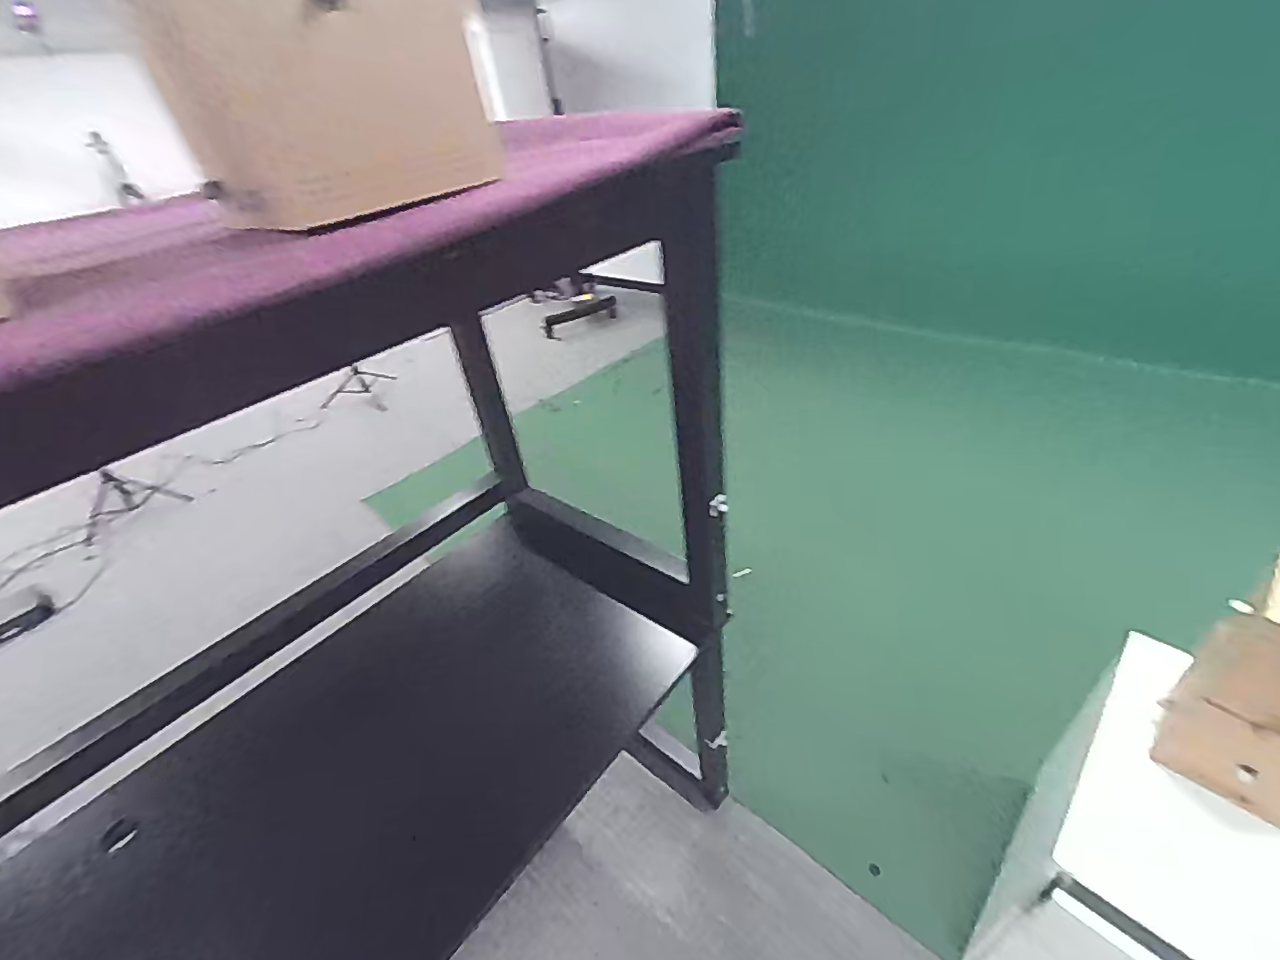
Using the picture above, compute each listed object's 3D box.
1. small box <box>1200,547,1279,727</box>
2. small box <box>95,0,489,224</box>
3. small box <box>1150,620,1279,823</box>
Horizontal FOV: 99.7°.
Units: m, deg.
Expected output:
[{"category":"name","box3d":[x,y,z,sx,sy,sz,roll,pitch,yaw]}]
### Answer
[{"category":"small box","box3d":[0.872,0.222,0.683,0.168,0.176,0.179,-32,44,-30]},{"category":"small box","box3d":[-0.245,-0.298,0.403,0.168,0.176,0.179,20,45,36]},{"category":"small box","box3d":[0.889,0.349,0.783,0.179,0.176,0.168,-35,45,-31]}]
